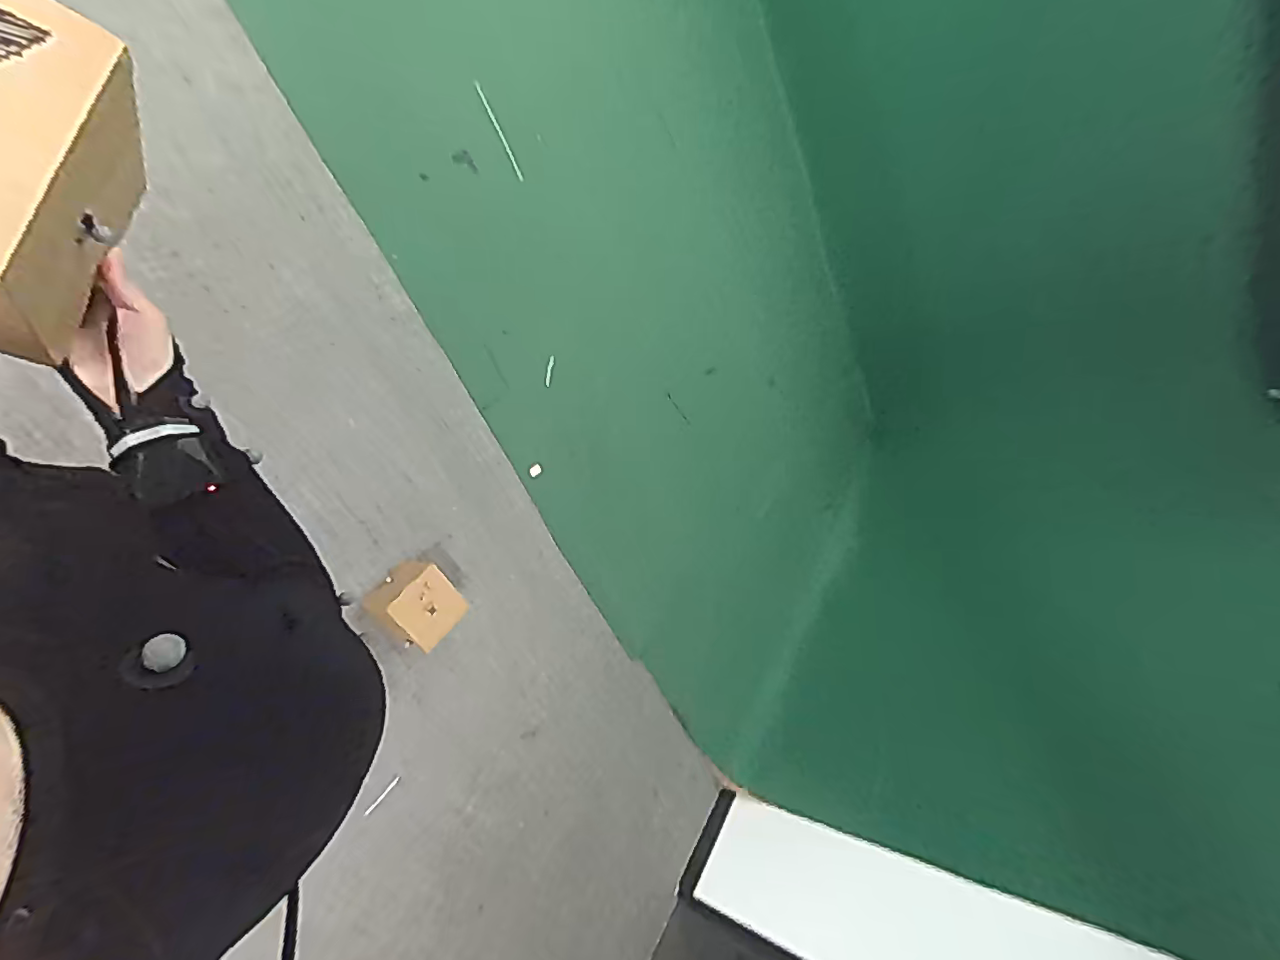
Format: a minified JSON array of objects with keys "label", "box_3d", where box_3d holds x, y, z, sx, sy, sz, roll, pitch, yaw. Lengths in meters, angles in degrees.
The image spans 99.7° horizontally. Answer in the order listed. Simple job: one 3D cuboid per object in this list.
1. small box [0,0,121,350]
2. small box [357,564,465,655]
[{"label":"small box","box_3d":[-0.440,-0.205,0.313,0.168,0.176,0.179,20,71,-36]},{"label":"small box","box_3d":[-0.618,0.341,1.462,0.168,0.176,0.179,-51,123,-37]}]
